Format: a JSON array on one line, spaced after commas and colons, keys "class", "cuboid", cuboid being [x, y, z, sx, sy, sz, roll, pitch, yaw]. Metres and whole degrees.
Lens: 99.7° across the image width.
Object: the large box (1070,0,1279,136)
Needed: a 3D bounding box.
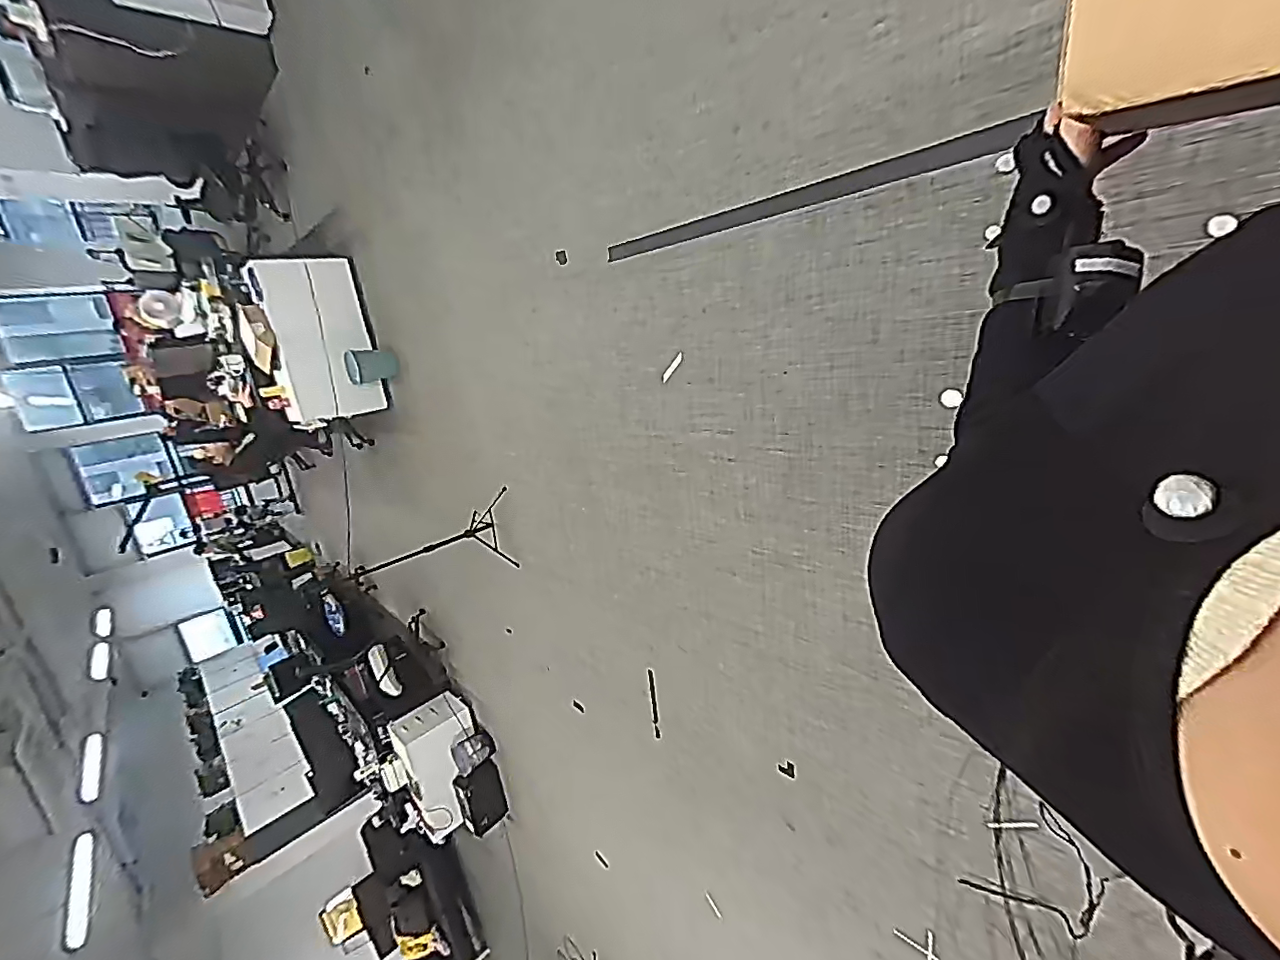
[{"class": "large box", "cuboid": [0.406, -0.333, 0.157, 0.408, 0.320, 0.320, 10, 121, 39]}]
